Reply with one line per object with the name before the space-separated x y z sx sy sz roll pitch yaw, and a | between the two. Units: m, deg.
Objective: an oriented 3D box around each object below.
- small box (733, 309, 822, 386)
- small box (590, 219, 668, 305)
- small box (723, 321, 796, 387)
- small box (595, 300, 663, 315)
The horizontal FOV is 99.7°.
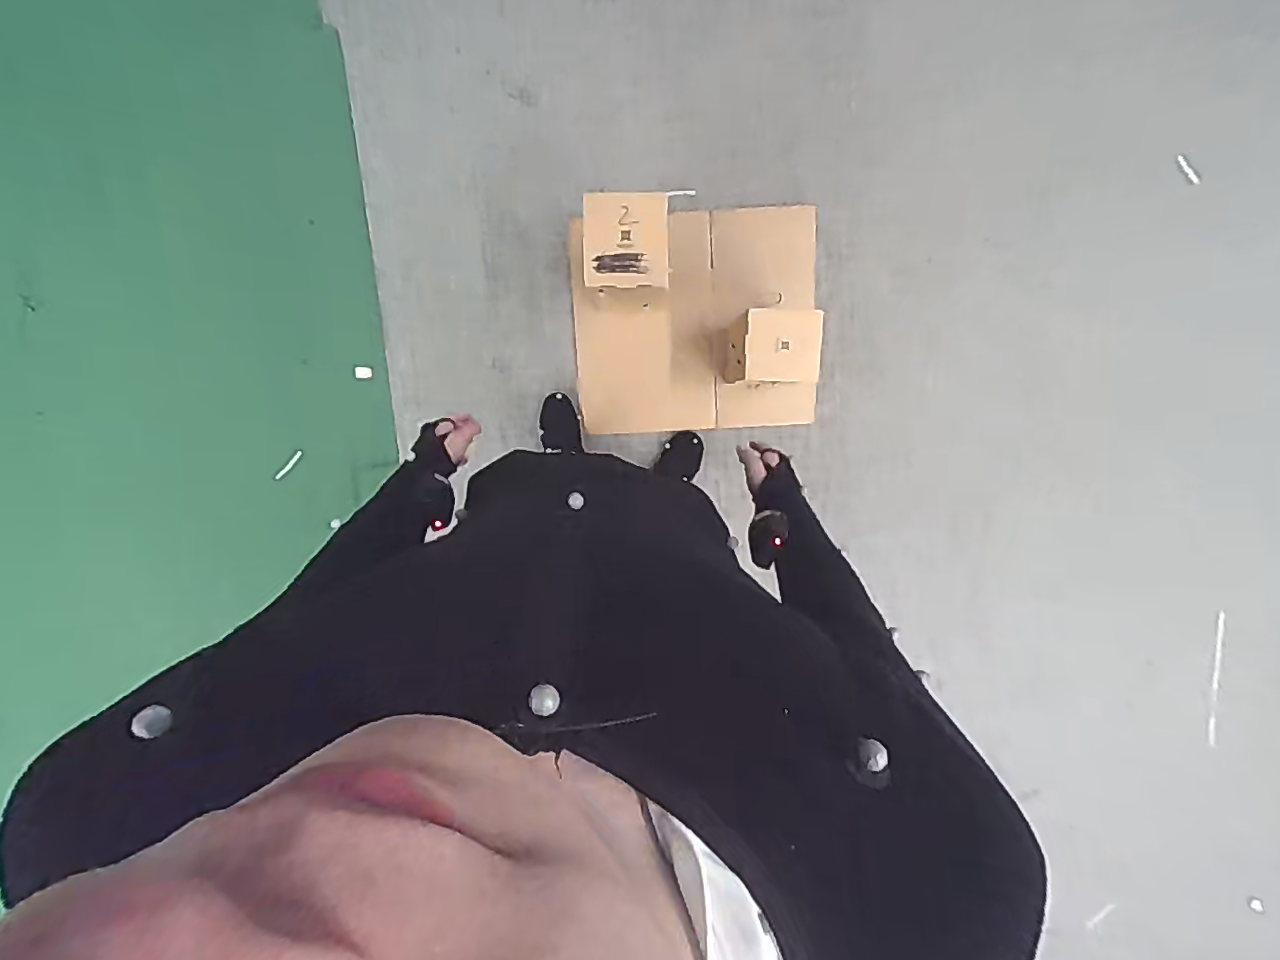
small box | 0.328 -0.319 1.325 0.179 0.176 0.168 2 100 0
small box | -0.025 -0.516 1.294 0.179 0.176 0.168 -1 100 1
small box | 0.331 -0.343 1.488 0.179 0.176 0.168 0 99 0
small box | -0.031 -0.542 1.453 0.179 0.176 0.168 -2 99 1
